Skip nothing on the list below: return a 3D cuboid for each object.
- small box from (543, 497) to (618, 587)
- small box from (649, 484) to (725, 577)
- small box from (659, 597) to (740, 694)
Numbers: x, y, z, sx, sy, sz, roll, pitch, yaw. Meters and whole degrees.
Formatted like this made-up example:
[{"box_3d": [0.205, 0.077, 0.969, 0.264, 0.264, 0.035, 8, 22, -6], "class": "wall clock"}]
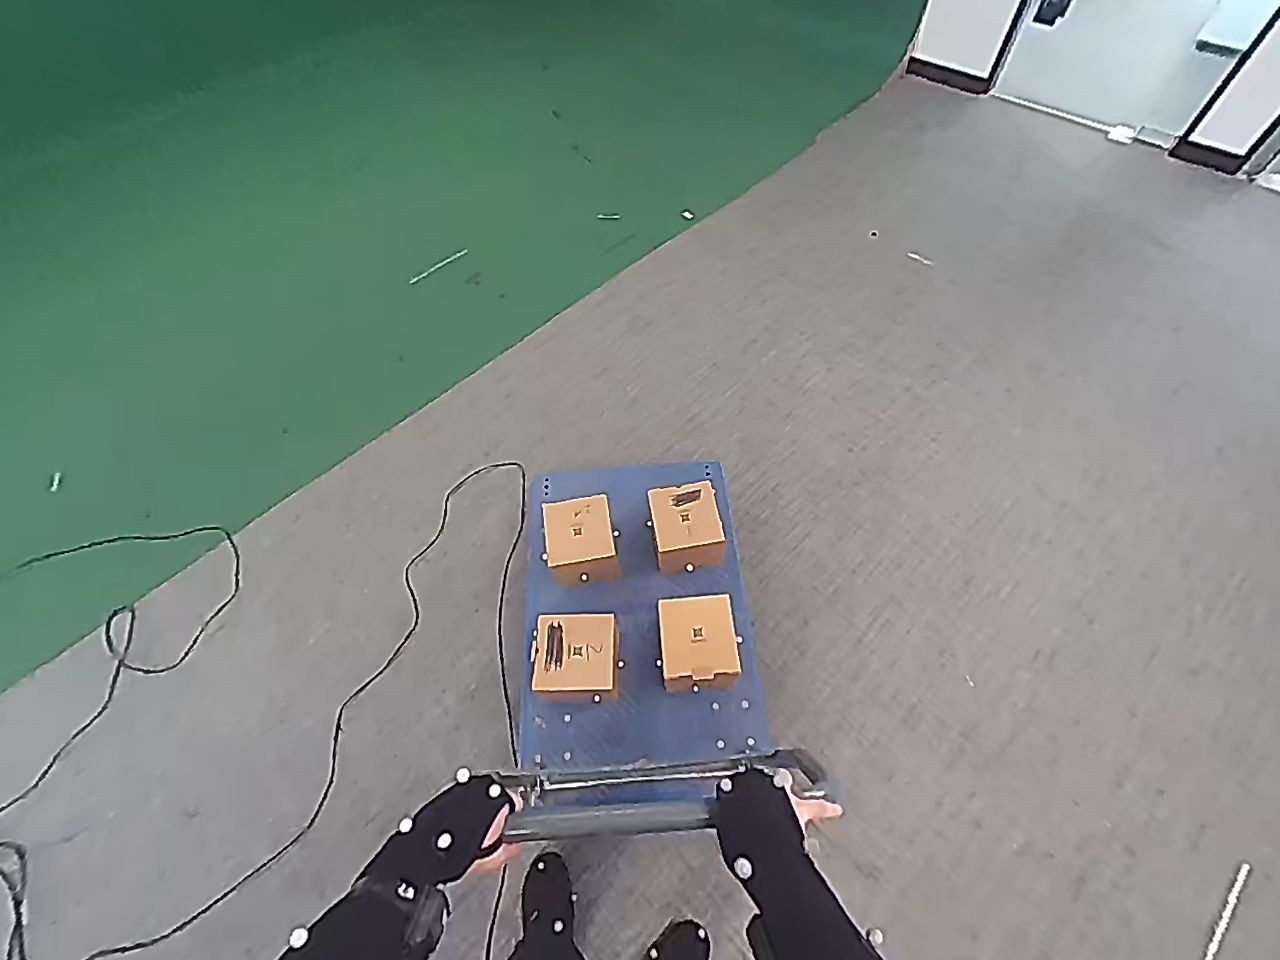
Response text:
[{"box_3d": [-0.152, 0.167, 1.404, 0.168, 0.176, 0.179, -9, 59, -3], "class": "small box"}, {"box_3d": [0.116, 0.134, 1.411, 0.168, 0.176, 0.179, -9, 60, -2], "class": "small box"}, {"box_3d": [0.130, 0.388, 1.259, 0.168, 0.176, 0.179, -5, 60, 0], "class": "small box"}]
